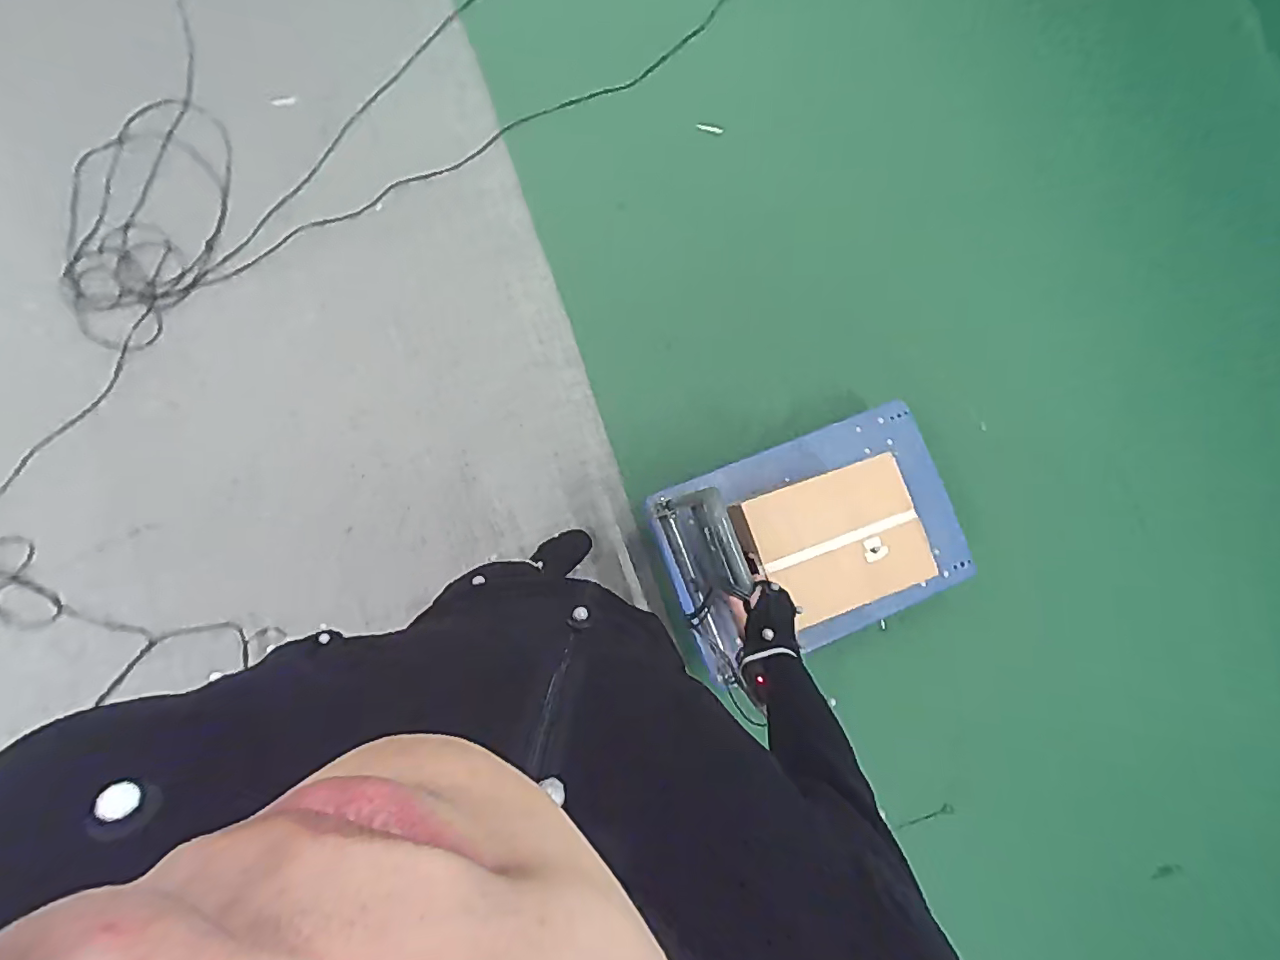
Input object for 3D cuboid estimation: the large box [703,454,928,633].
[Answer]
[{"bbox_3d":[0.428,0.160,1.398,0.408,0.320,0.320,-18,86,-11],"label":"large box"}]
